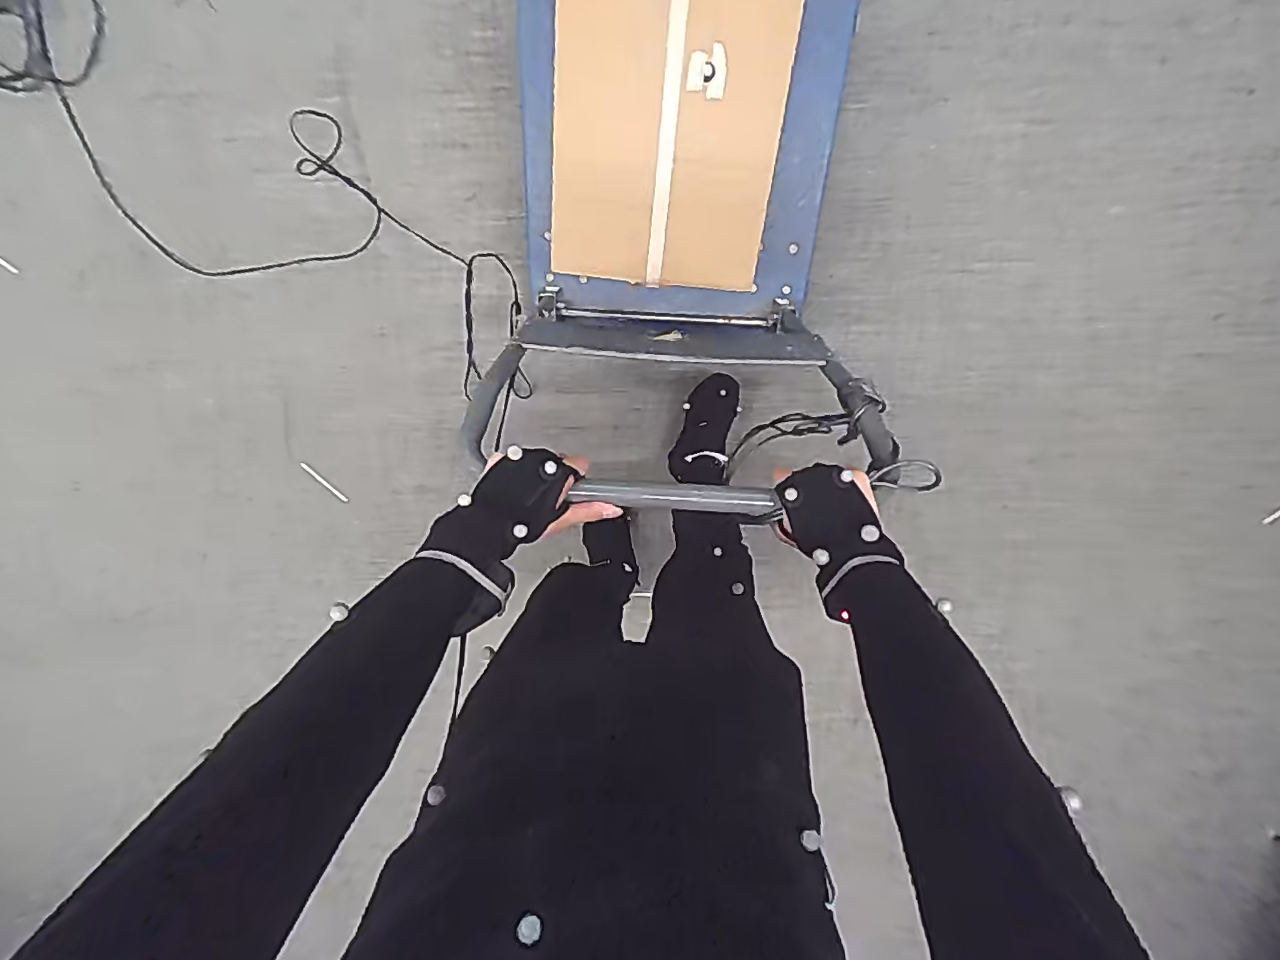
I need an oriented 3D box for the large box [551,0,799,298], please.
[{"bbox_3d":[0.039,-0.534,0.882,0.320,0.320,0.408,6,116,-1],"label":"large box"}]
